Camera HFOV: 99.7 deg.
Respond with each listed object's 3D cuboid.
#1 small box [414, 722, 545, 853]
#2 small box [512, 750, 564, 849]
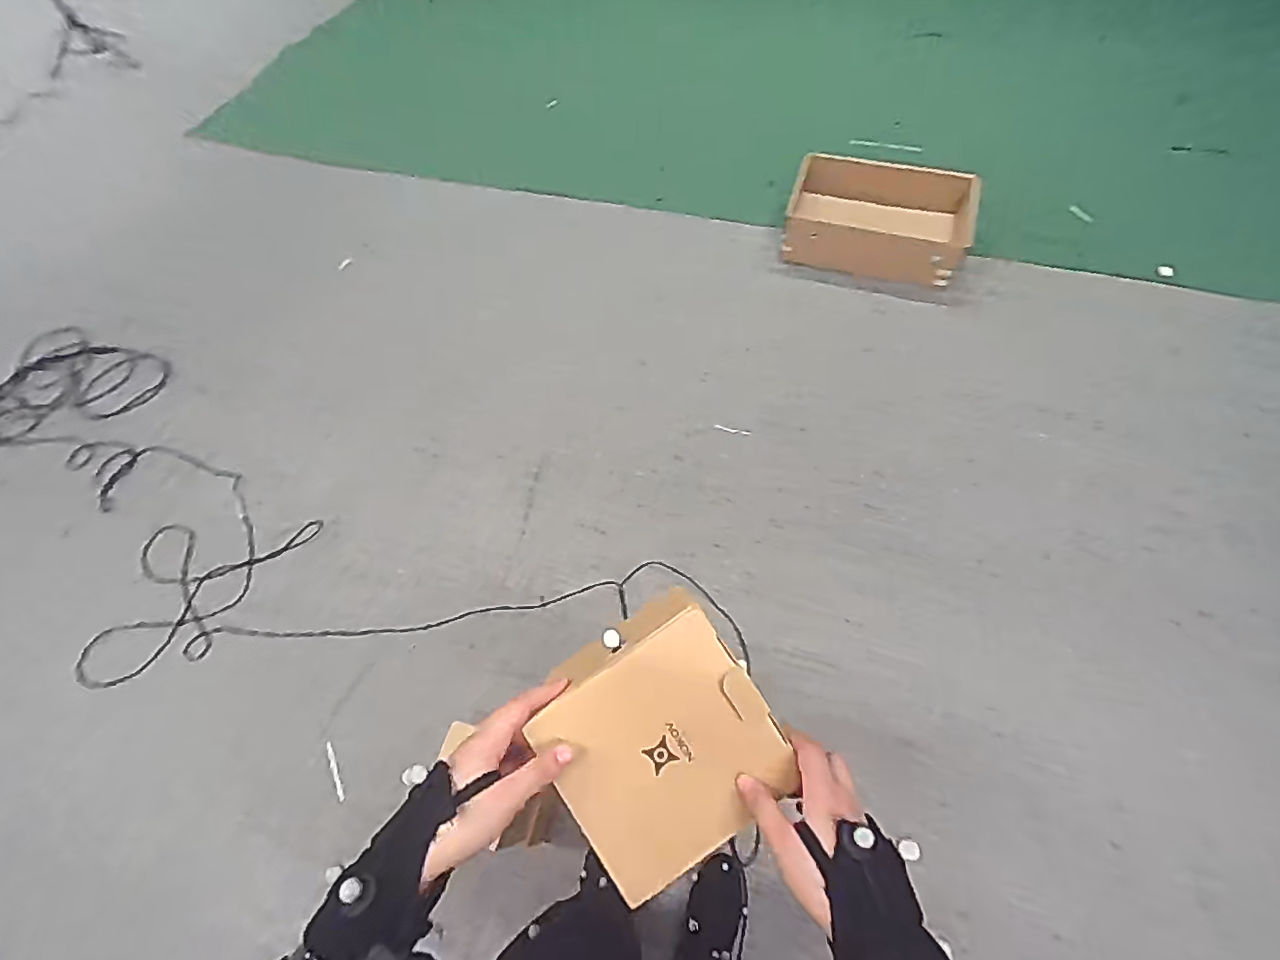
[{"bbox_3d":[-0.299,0.594,1.053,0.168,0.176,0.179,12,61,10],"label":"small box"},{"bbox_3d":[-0.276,0.682,1.191,0.168,0.176,0.179,11,62,10],"label":"small box"}]
